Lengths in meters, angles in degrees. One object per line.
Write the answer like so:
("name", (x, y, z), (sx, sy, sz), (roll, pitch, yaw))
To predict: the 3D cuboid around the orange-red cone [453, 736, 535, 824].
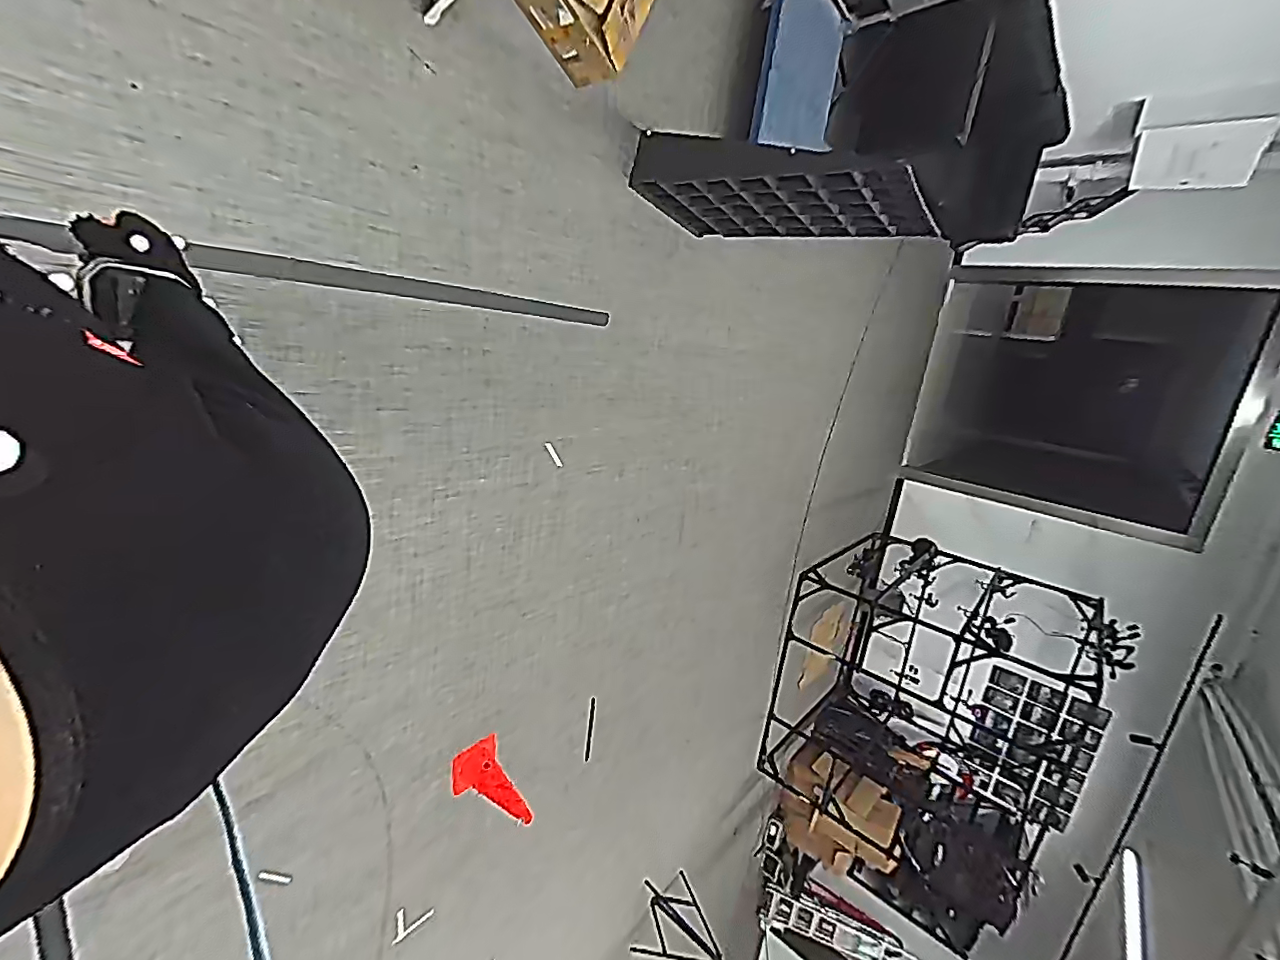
("orange-red cone", (-0.529, 1.186, 2.061), (0.198, 0.360, 0.199), (-16, 116, -48))
